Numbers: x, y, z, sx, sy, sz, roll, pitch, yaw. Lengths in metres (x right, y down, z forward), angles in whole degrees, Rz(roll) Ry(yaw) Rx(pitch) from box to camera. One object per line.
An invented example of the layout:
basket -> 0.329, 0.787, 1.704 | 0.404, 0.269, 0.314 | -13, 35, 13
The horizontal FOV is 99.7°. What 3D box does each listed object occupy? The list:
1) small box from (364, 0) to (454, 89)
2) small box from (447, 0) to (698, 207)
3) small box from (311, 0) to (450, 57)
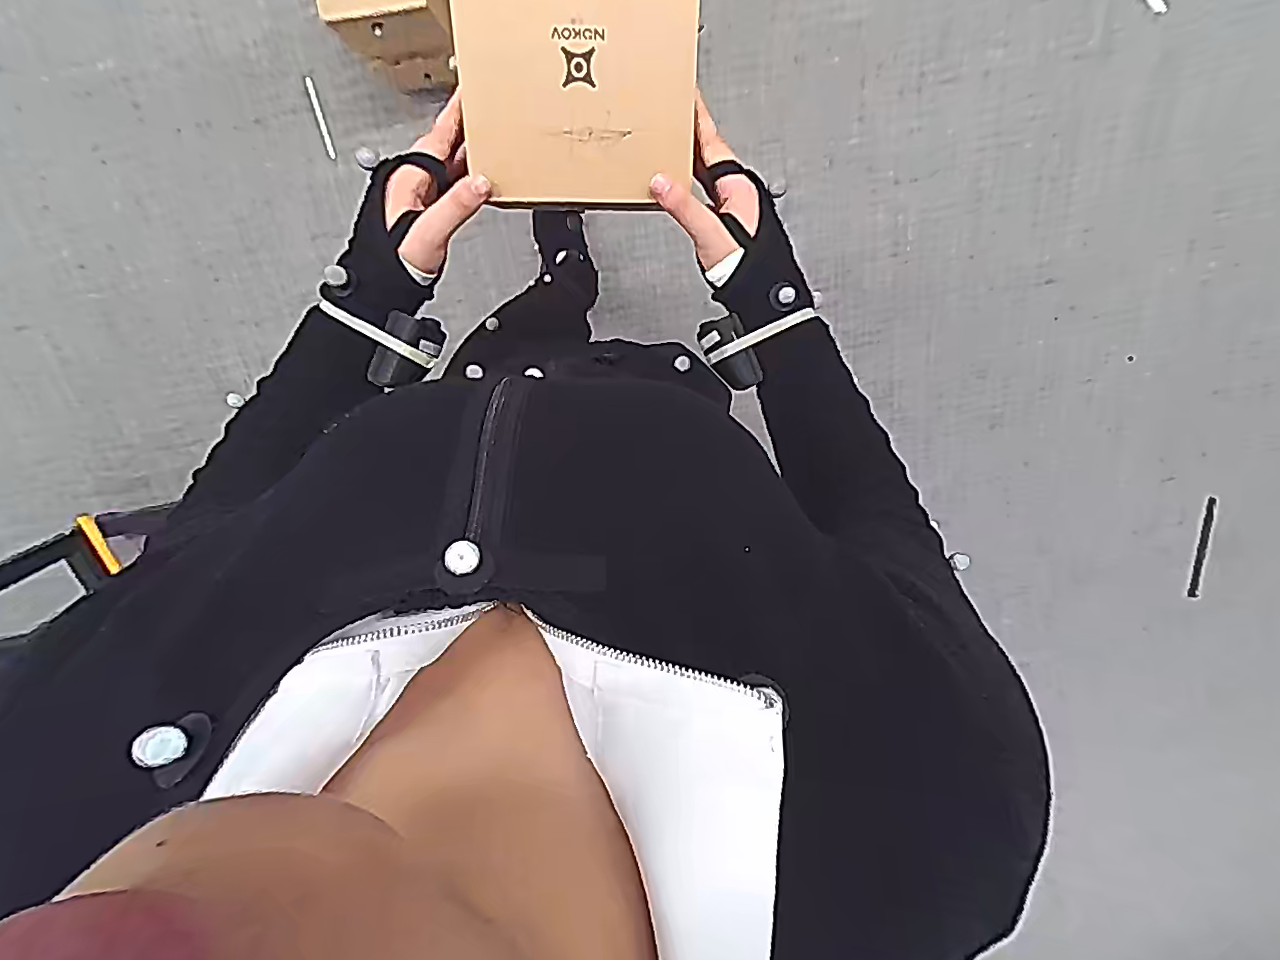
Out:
small box -> -0.447, -0.893, 1.057 | 0.168, 0.176, 0.179 | -8, 112, 1
small box -> -0.050, -0.322, 0.431 | 0.168, 0.176, 0.179 | -1, 115, -4
small box -> -0.438, -0.839, 0.900 | 0.179, 0.176, 0.168 | -9, 111, 0
